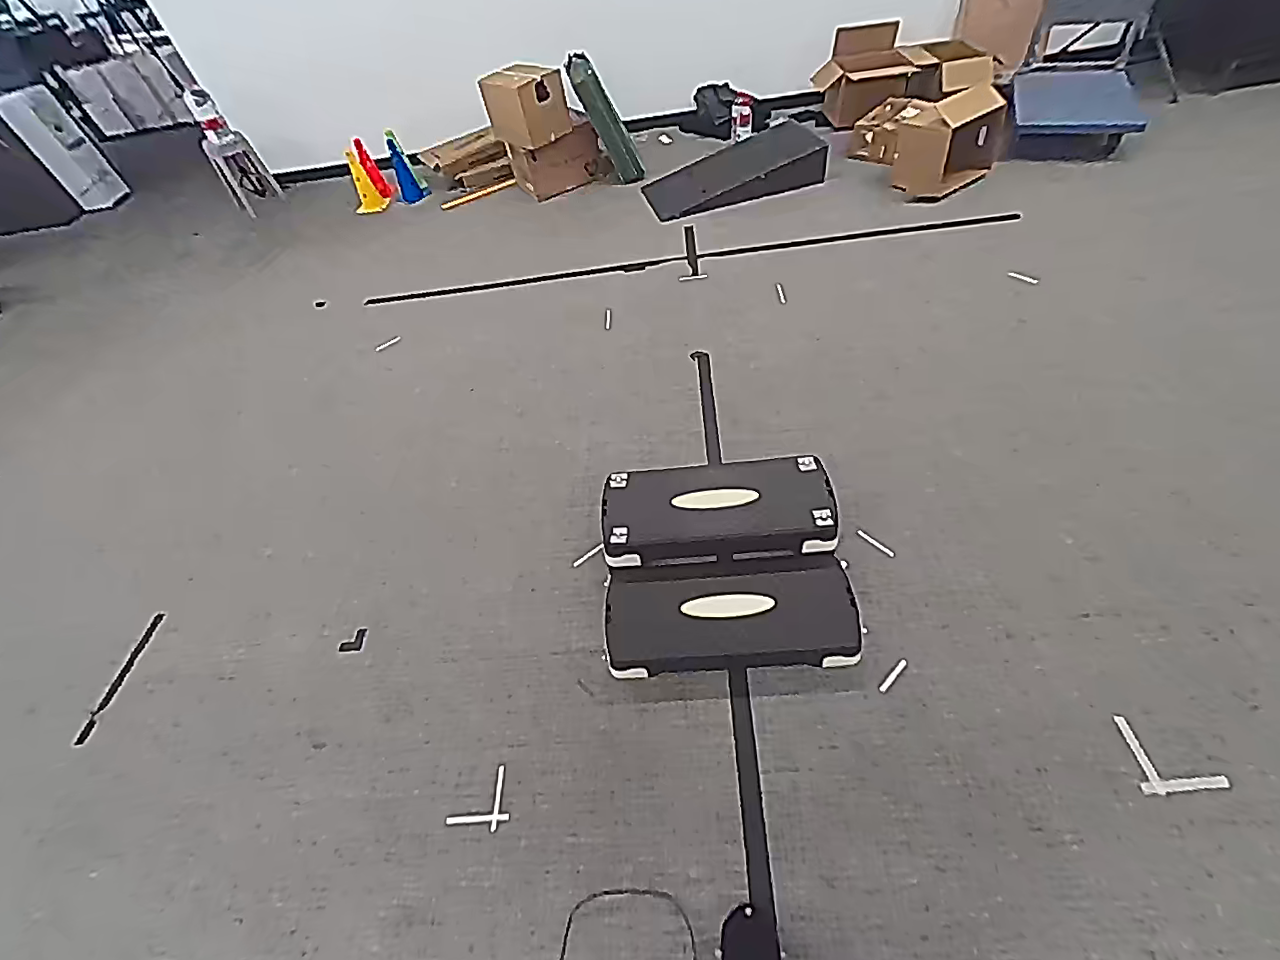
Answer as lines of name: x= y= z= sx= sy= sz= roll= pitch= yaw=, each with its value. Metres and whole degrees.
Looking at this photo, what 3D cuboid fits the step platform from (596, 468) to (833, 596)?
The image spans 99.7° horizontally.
step platform: x=0.211 y=0.152 z=1.611 sx=0.684 sy=0.204 sz=0.286 roll=-6 pitch=50 yaw=4
